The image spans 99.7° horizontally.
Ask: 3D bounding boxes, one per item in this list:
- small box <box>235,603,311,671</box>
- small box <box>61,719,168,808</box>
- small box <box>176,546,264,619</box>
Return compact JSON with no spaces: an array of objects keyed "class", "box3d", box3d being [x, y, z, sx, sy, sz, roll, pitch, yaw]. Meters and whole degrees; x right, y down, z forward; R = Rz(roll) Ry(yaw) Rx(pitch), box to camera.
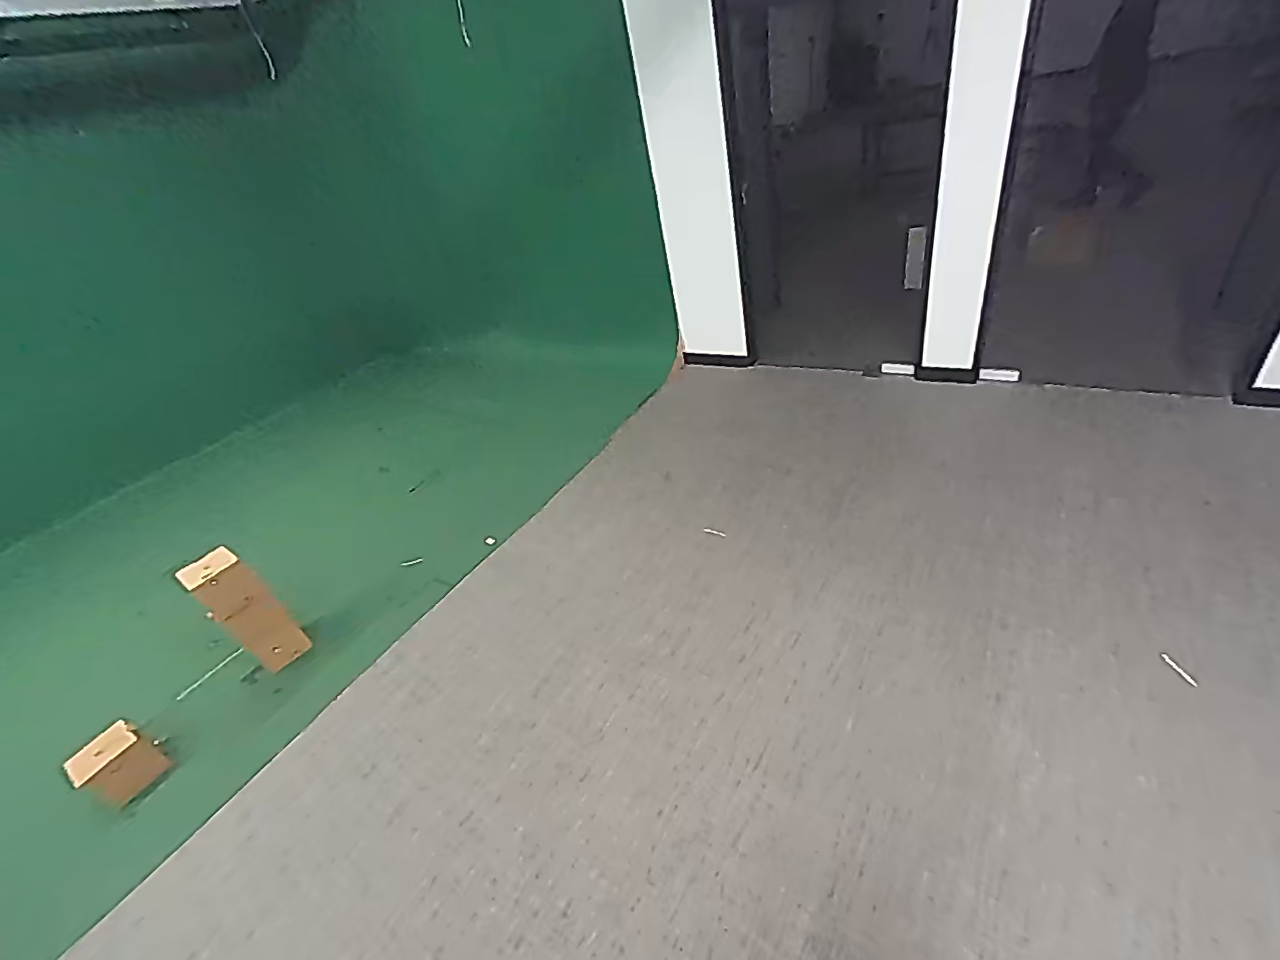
[{"class":"small box","box3d":[-1.451,0.627,2.145,0.179,0.176,0.168,20,46,38]},{"class":"small box","box3d":[-1.740,0.945,1.797,0.168,0.176,0.179,13,43,32]},{"class":"small box","box3d":[-1.509,0.371,1.948,0.179,0.176,0.168,15,43,36]}]
